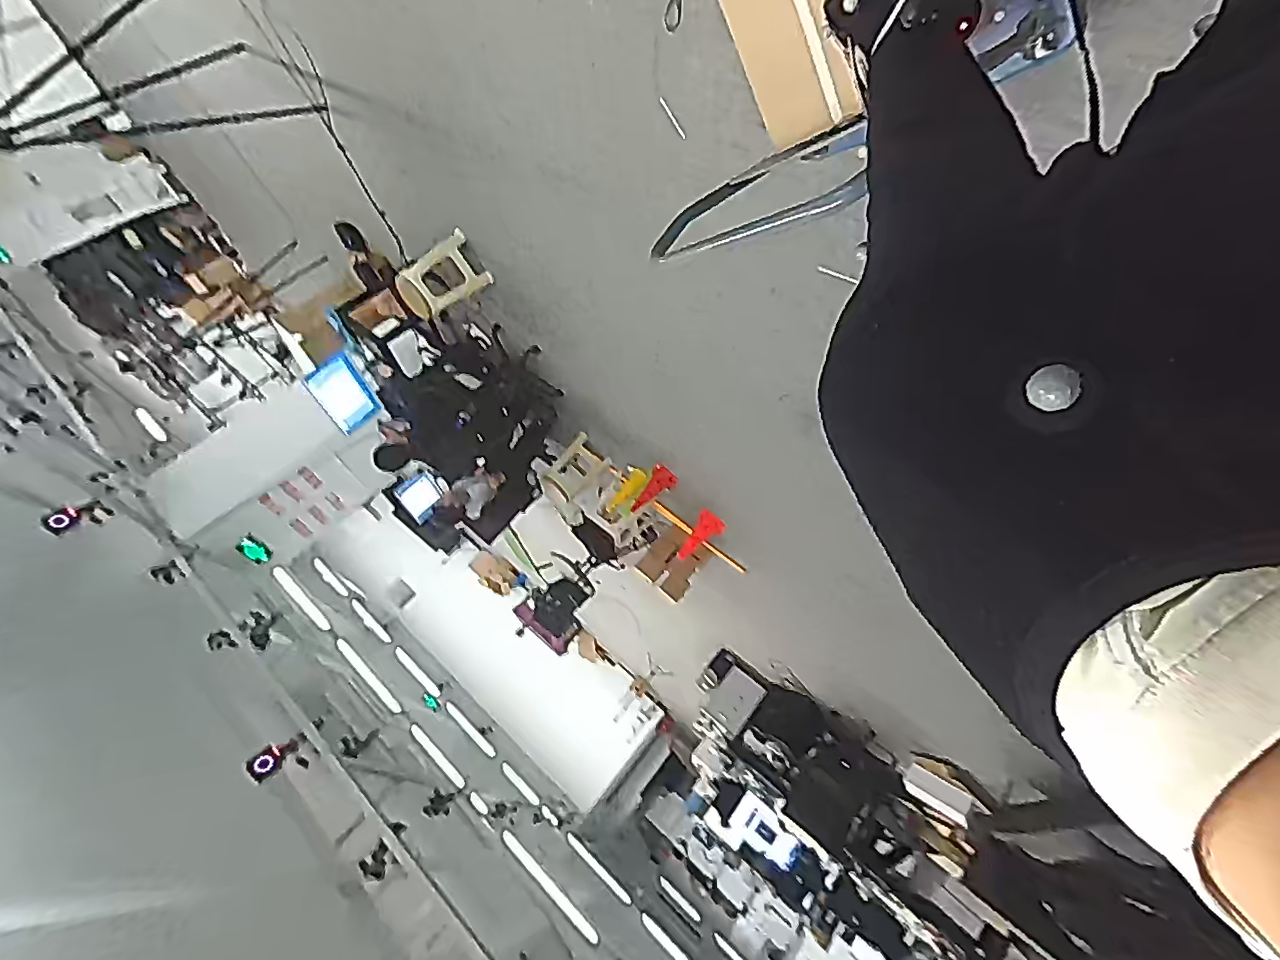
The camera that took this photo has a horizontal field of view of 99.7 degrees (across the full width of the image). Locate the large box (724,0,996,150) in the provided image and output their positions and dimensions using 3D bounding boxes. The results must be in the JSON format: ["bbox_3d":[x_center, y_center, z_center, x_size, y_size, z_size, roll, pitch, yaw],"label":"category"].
[{"bbox_3d":[0.384,-0.919,0.984,0.320,0.320,0.408,8,136,54],"label":"large box"}]
